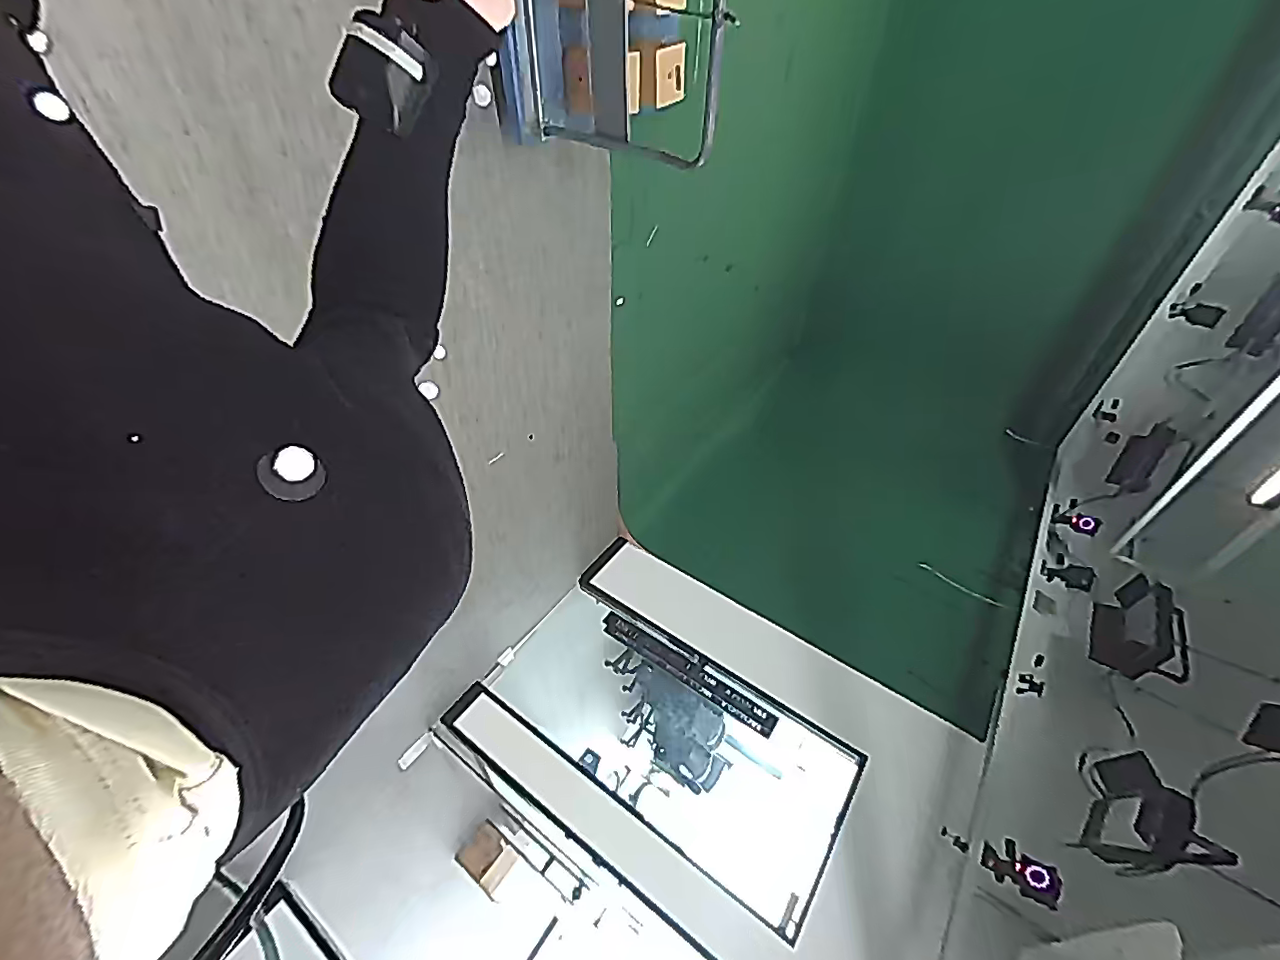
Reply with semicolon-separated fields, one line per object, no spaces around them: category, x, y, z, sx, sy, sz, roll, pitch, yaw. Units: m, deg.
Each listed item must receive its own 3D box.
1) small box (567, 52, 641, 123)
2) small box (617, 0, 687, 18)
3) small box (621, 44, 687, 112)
small box;-0.114;-1.277;1.754;0.179;0.176;0.168;-41;147;-36
small box;0.036;-1.598;1.729;0.179;0.176;0.168;-45;150;-33
small box;0.047;-1.425;1.912;0.179;0.176;0.168;-44;148;-32
